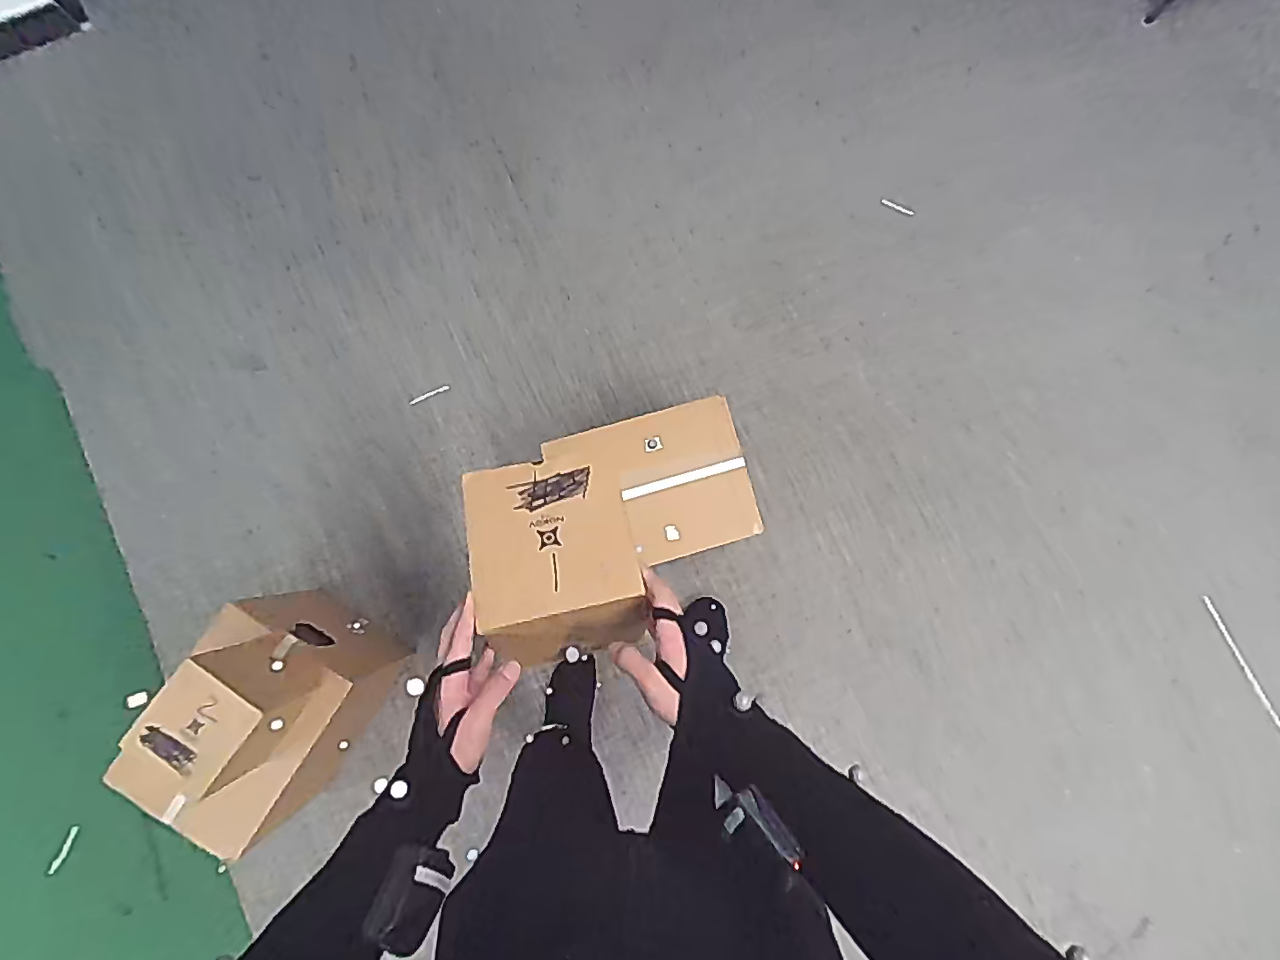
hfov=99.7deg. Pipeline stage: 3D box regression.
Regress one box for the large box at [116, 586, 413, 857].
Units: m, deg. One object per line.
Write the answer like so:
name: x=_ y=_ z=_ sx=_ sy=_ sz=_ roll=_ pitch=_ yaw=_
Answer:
large box: x=-0.797 y=0.498 z=1.214 sx=0.320 sy=0.320 sz=0.408 roll=31 pitch=85 yaw=4

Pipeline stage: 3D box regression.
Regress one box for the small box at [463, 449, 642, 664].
small box: x=-0.095 y=0.092 z=0.620 sx=0.168 sy=0.176 sz=0.179 roll=-11 pitch=61 yaw=-6
